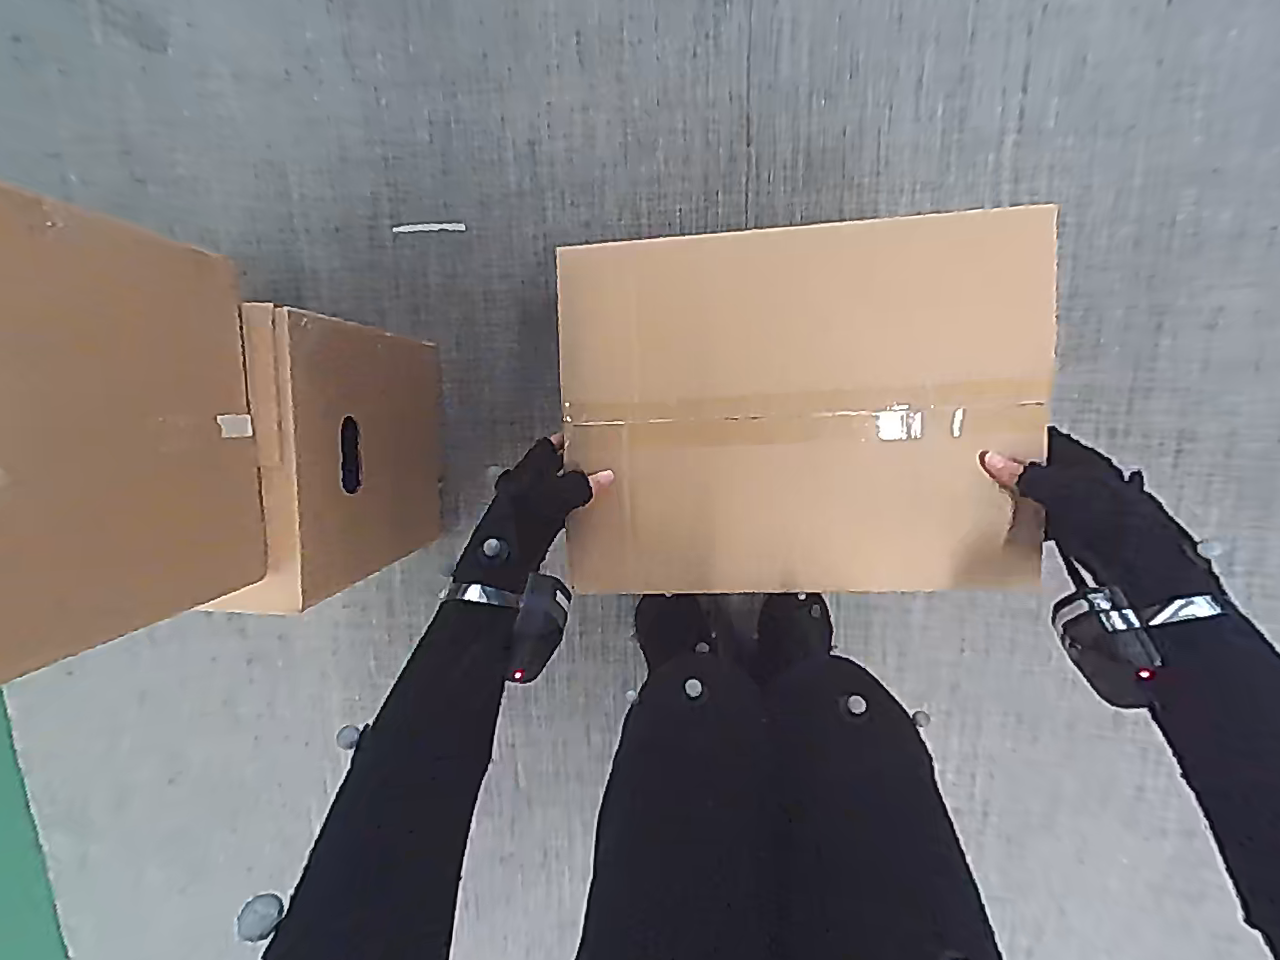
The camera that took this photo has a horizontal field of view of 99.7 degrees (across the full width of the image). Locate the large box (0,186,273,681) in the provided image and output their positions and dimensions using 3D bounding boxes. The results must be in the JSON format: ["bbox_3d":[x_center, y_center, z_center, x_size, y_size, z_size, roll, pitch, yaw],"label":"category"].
[{"bbox_3d":[-0.577,-0.031,0.397,0.408,0.320,0.320,0,97,5],"label":"large box"}]
